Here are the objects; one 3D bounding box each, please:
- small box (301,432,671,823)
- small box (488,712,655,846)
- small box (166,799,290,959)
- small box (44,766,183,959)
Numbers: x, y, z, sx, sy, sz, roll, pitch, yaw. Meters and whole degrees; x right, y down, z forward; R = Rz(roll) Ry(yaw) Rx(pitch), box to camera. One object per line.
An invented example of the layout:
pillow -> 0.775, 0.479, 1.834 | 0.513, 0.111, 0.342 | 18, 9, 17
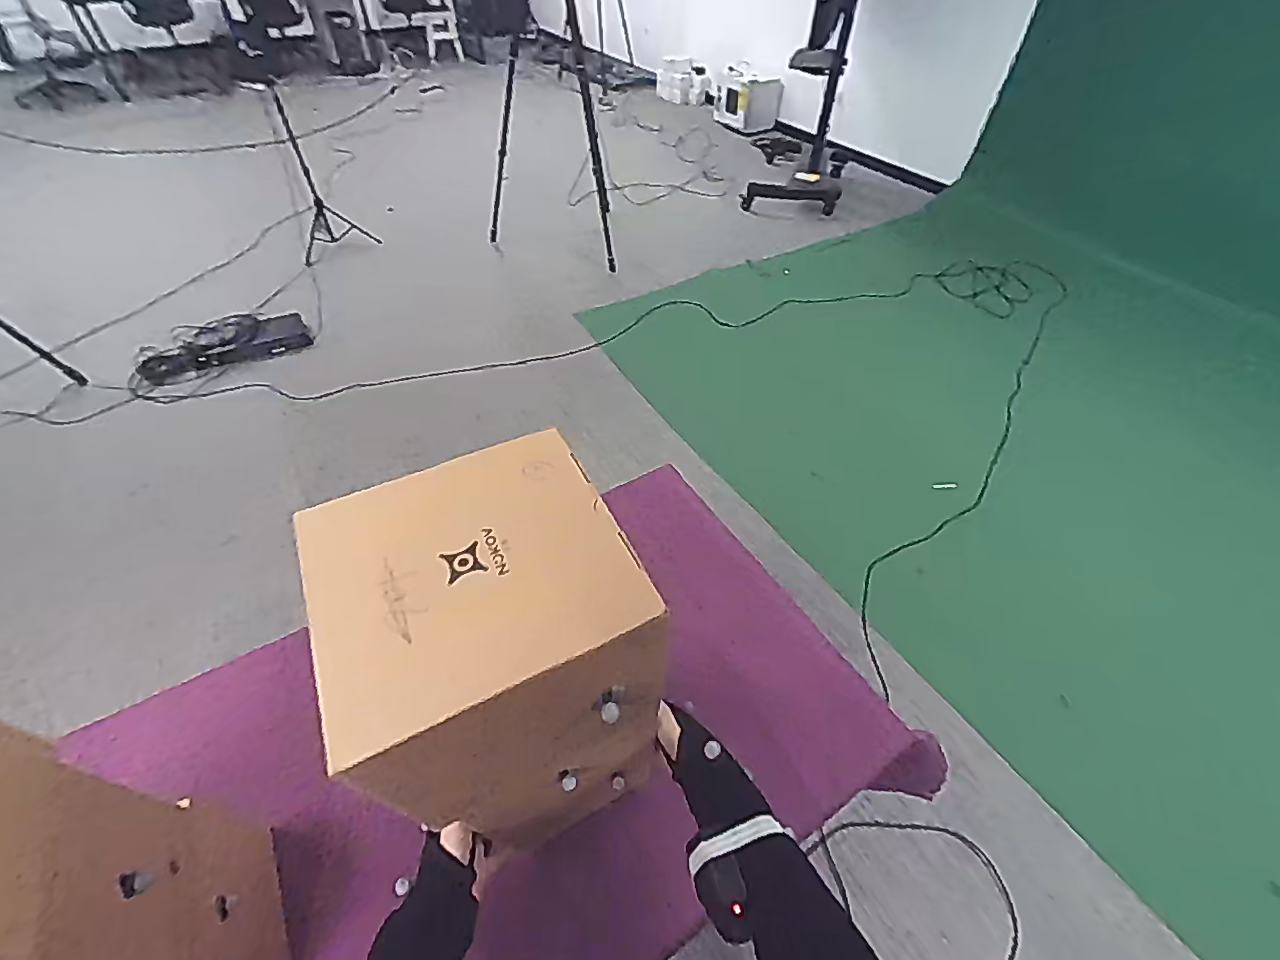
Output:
small box -> -0.096, 0.101, 0.373 | 0.179, 0.176, 0.168 | -21, 53, -17
small box -> -0.099, 0.295, 0.638 | 0.179, 0.176, 0.168 | -22, 54, -18
small box -> -0.468, 0.454, 0.522 | 0.168, 0.176, 0.179 | -24, 52, -22
small box -> -0.474, 0.350, 0.394 | 0.179, 0.176, 0.168 | -23, 52, -21
